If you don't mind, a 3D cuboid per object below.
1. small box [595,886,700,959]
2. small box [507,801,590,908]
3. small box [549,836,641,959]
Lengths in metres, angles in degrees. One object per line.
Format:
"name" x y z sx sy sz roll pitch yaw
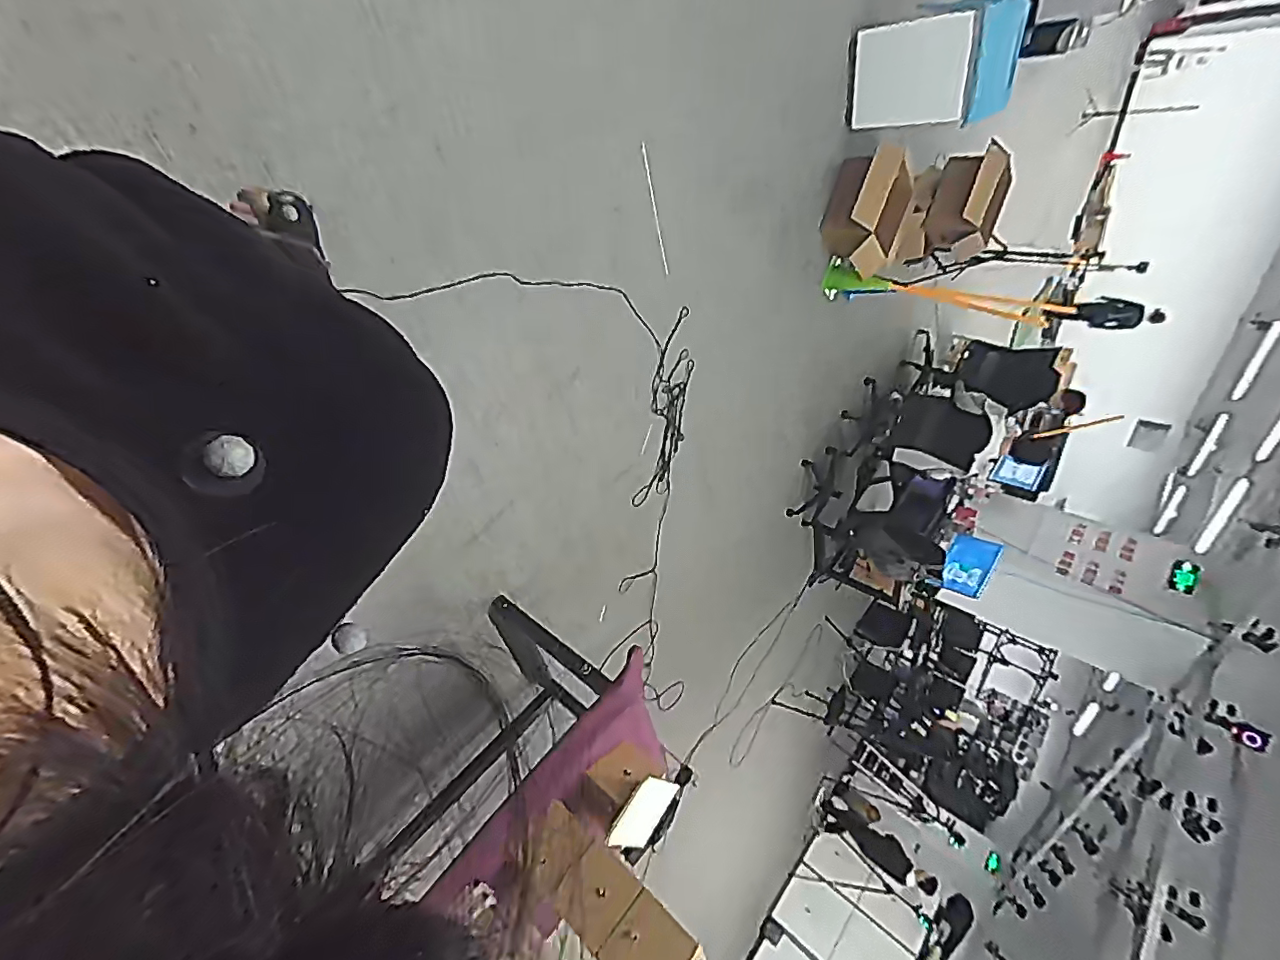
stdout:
"small box" 0.014 1.097 1.243 0.179 0.176 0.168 -39 137 -30
"small box" -0.228 1.003 1.444 0.168 0.176 0.179 -39 136 -30
"small box" -0.106 1.044 1.342 0.179 0.176 0.168 -40 136 -31
